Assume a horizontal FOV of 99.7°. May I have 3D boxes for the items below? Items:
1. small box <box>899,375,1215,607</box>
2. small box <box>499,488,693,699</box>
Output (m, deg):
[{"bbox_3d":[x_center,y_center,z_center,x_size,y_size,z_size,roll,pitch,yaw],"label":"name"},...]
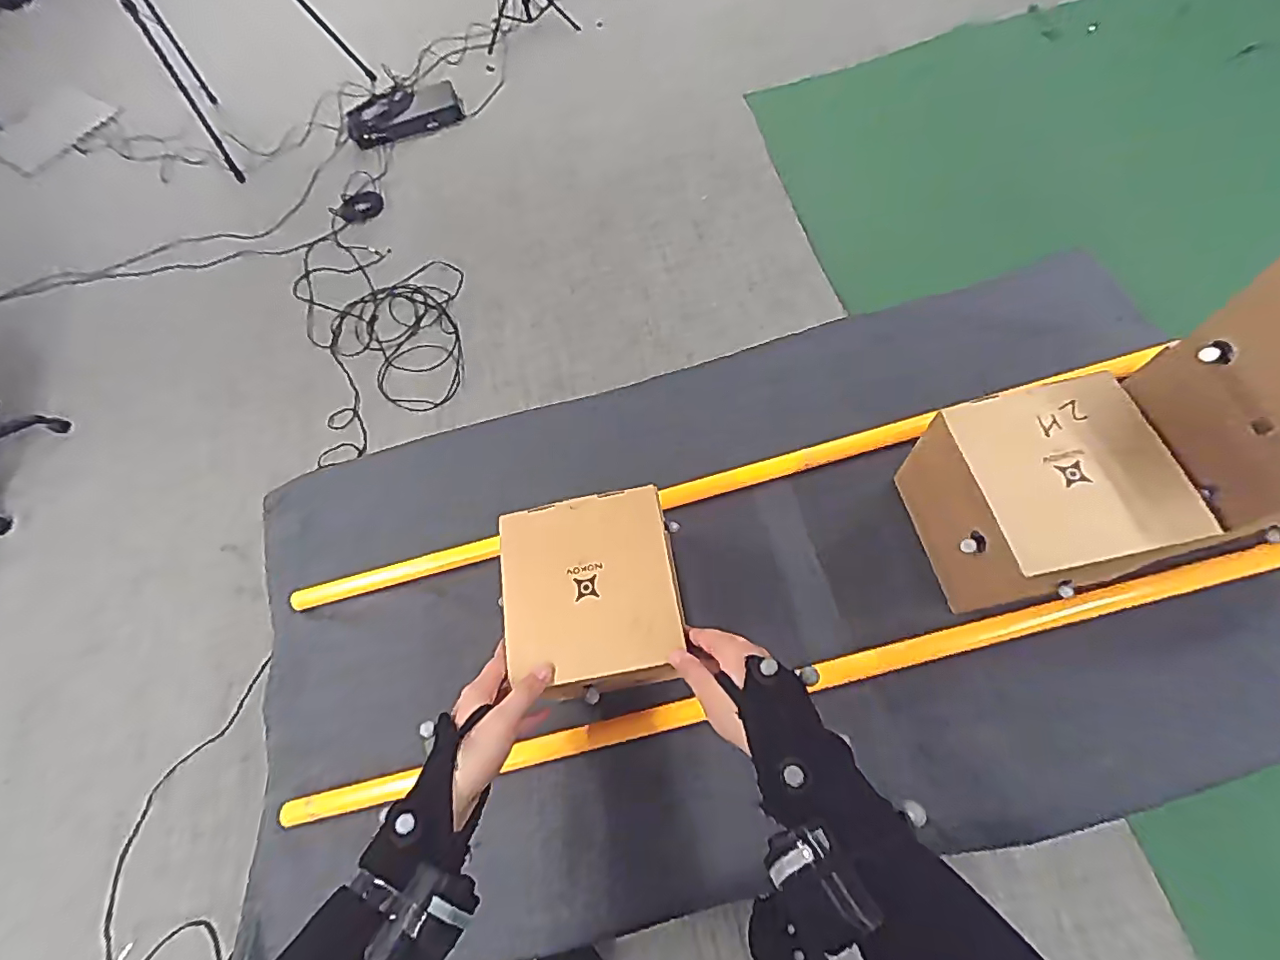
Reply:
[{"bbox_3d":[0.396,0.025,0.558,0.168,0.176,0.179,-13,65,5],"label":"small box"},{"bbox_3d":[-0.040,0.132,0.583,0.168,0.176,0.179,-12,64,2],"label":"small box"}]
